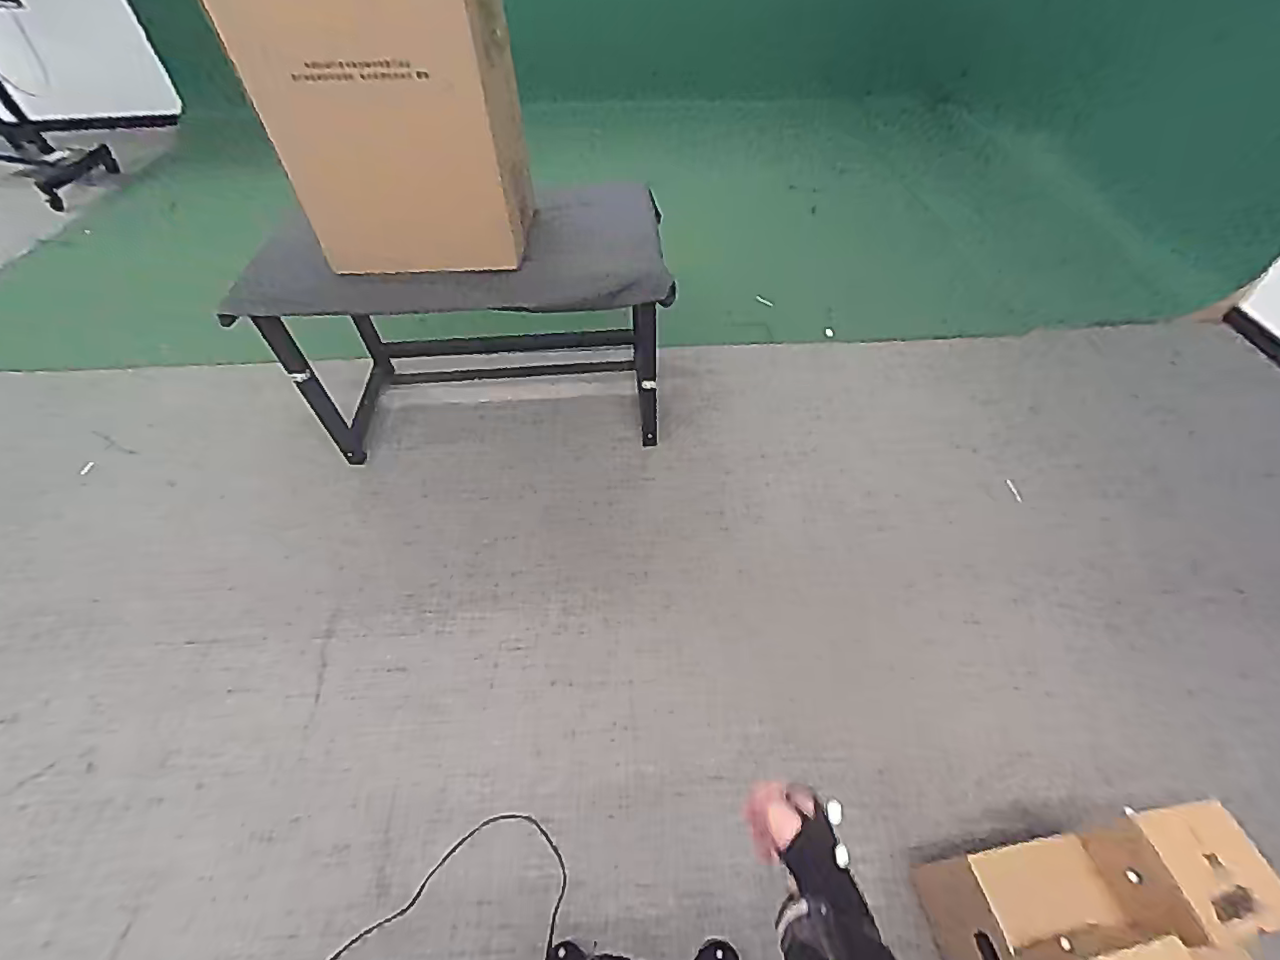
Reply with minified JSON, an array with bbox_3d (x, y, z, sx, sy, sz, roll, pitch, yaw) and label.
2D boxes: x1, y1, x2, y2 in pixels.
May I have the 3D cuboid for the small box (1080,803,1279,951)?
[{"bbox_3d":[0.924,0.678,0.924,0.168,0.176,0.179,-7,48,-4],"label":"small box"}]

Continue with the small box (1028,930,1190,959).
[{"bbox_3d":[0.738,0.811,0.820,0.179,0.176,0.168,-9,54,-8],"label":"small box"}]
